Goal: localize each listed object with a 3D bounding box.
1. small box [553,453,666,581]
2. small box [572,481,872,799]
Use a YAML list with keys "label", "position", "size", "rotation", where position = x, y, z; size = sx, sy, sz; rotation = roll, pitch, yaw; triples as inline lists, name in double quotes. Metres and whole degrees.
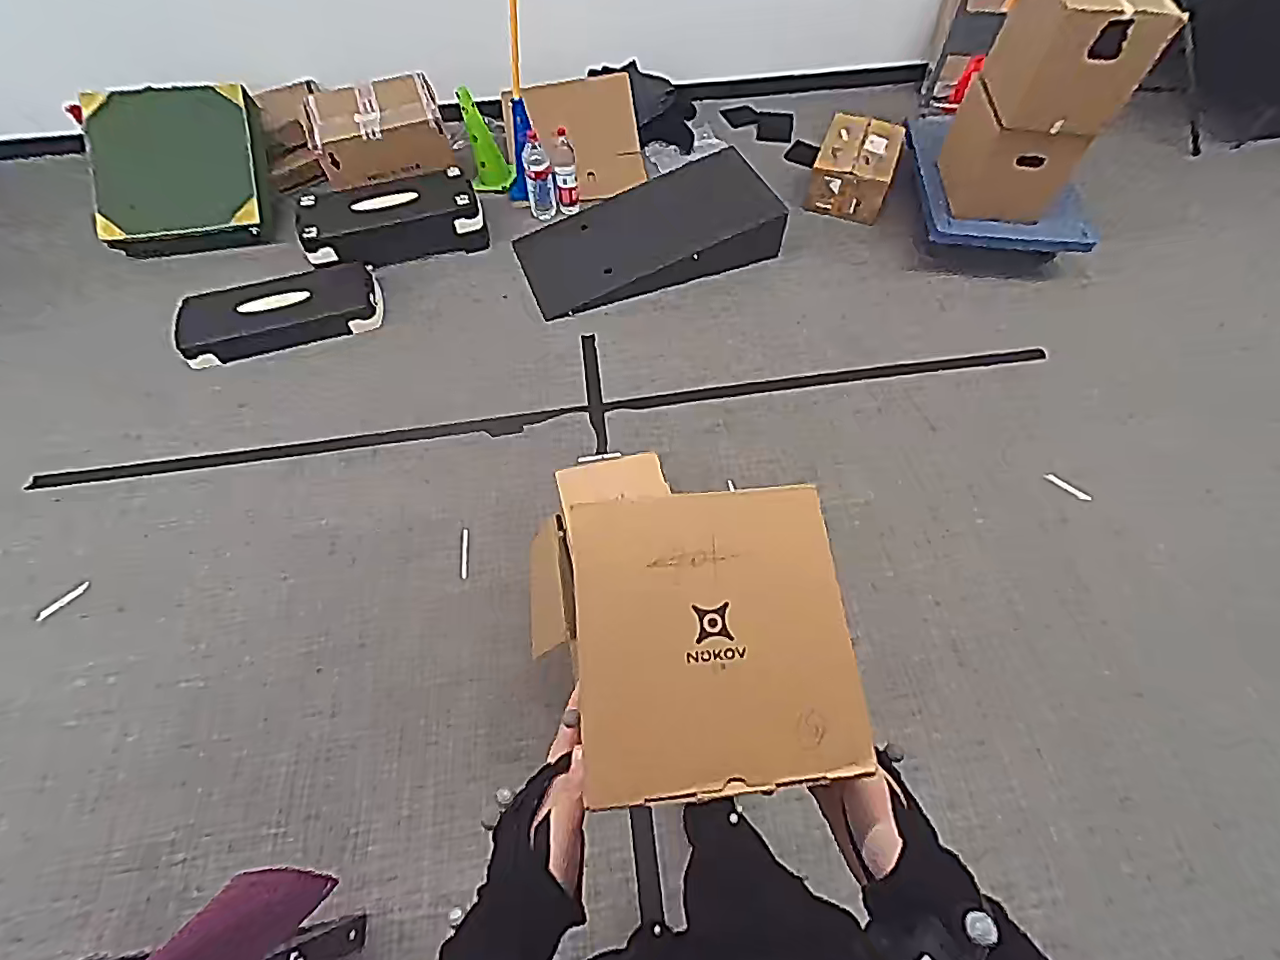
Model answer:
- label: "small box"
  position: [-0.043, 0.079, 0.928]
  size: [0.179, 0.176, 0.168]
  rotation: [-12, 65, -10]
- label: "small box"
  position: [0.040, 0.114, 0.401]
  size: [0.168, 0.176, 0.179]
  rotation: [-4, 69, -5]
